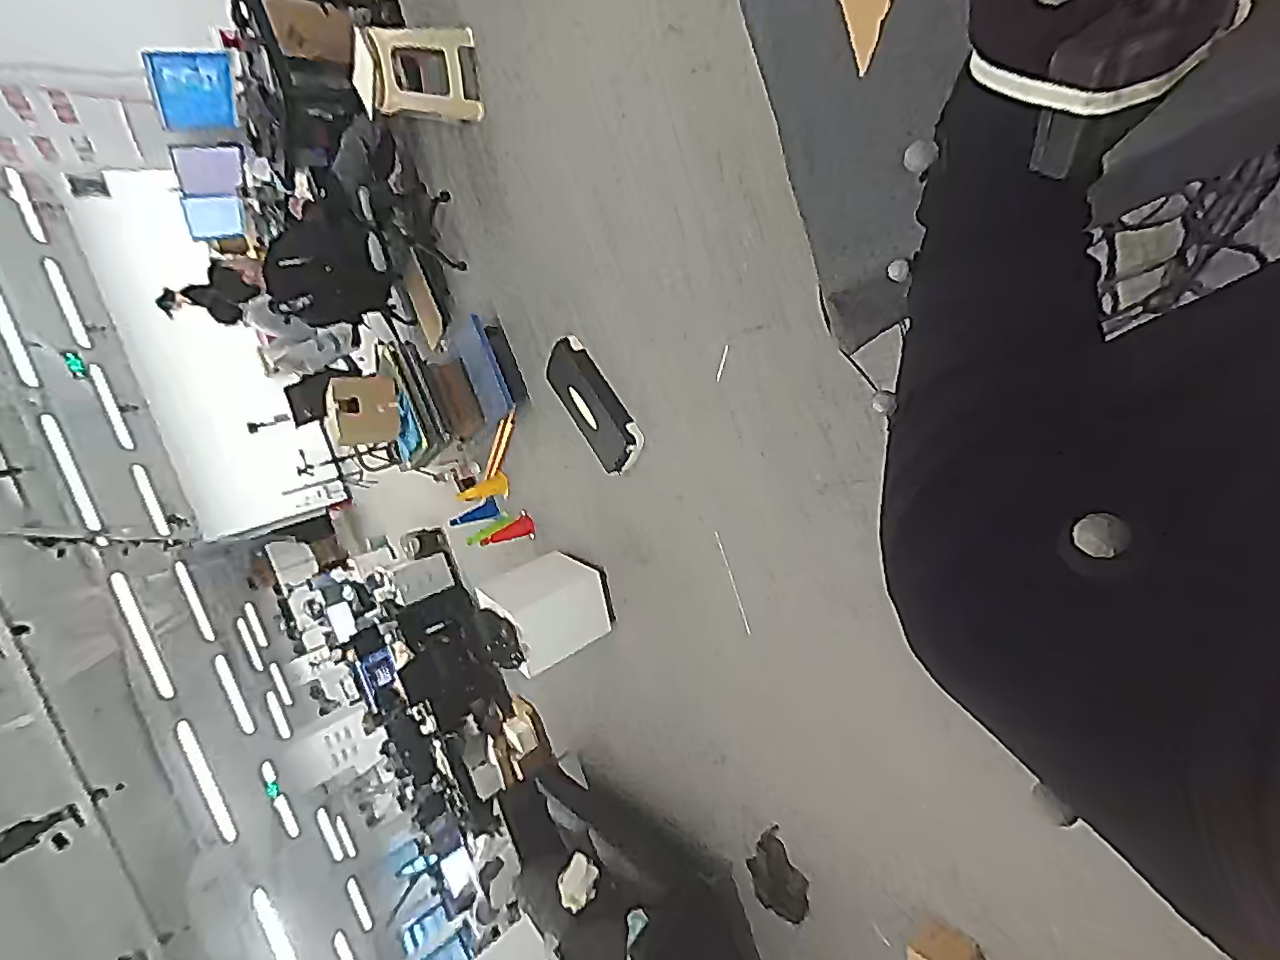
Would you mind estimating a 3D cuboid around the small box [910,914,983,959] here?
[{"bbox_3d":[1.063,1.667,1.865,0.168,0.176,0.179,2,111,56],"label":"small box"}]
